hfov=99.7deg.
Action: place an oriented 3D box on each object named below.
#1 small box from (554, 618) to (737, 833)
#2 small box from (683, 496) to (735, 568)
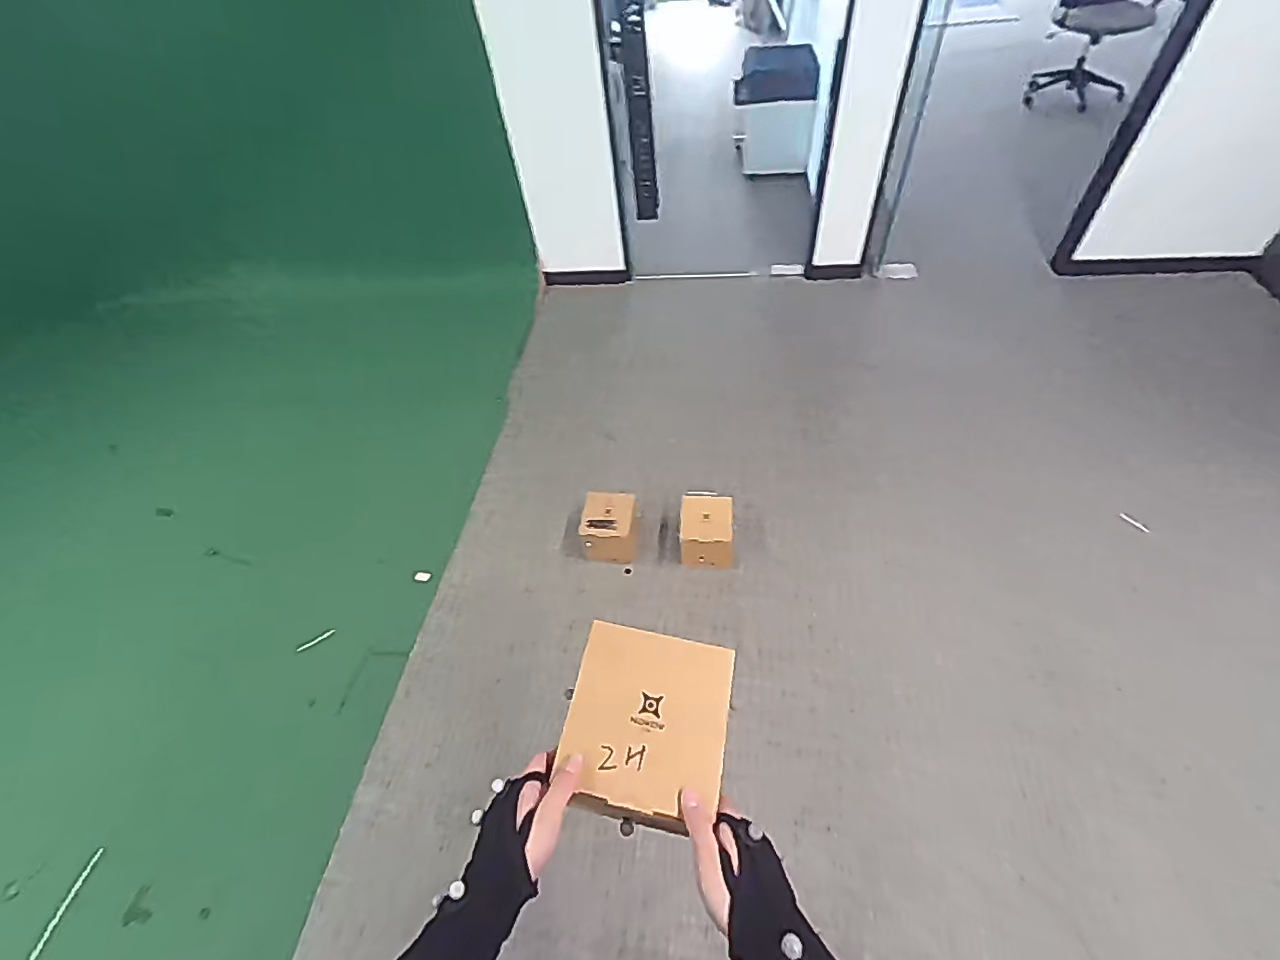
[{"bbox_3d":[0.012,0.290,0.635,0.168,0.176,0.179,10,55,8],"label":"small box"},{"bbox_3d":[0.231,0.174,1.804,0.168,0.176,0.179,0,52,8],"label":"small box"}]
